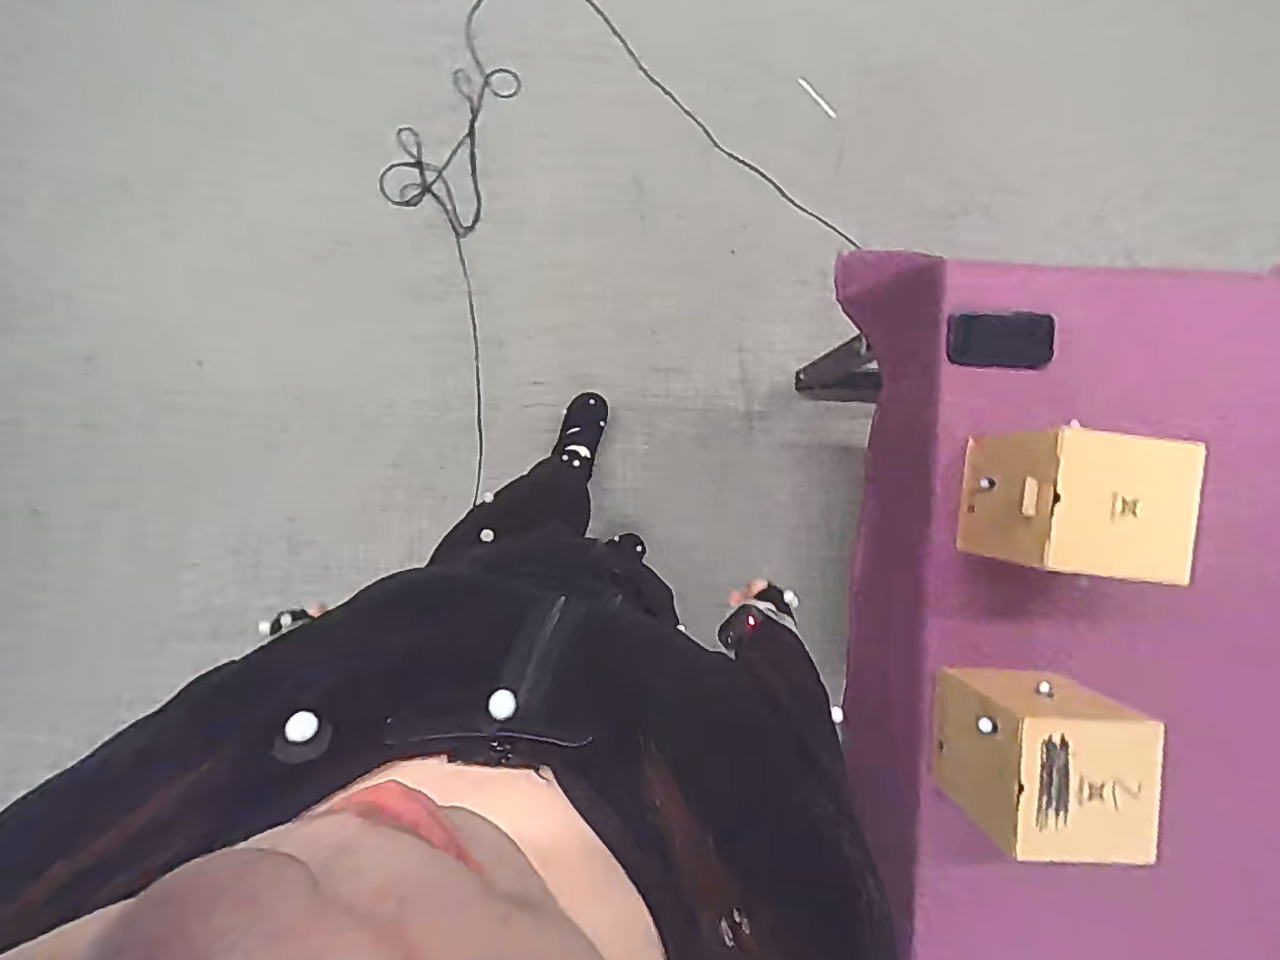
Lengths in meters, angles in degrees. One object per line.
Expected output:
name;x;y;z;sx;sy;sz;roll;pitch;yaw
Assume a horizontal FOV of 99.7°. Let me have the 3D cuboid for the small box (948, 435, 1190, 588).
small box;0.551;0.035;0.717;0.179;0.176;0.168;7;91;-2
